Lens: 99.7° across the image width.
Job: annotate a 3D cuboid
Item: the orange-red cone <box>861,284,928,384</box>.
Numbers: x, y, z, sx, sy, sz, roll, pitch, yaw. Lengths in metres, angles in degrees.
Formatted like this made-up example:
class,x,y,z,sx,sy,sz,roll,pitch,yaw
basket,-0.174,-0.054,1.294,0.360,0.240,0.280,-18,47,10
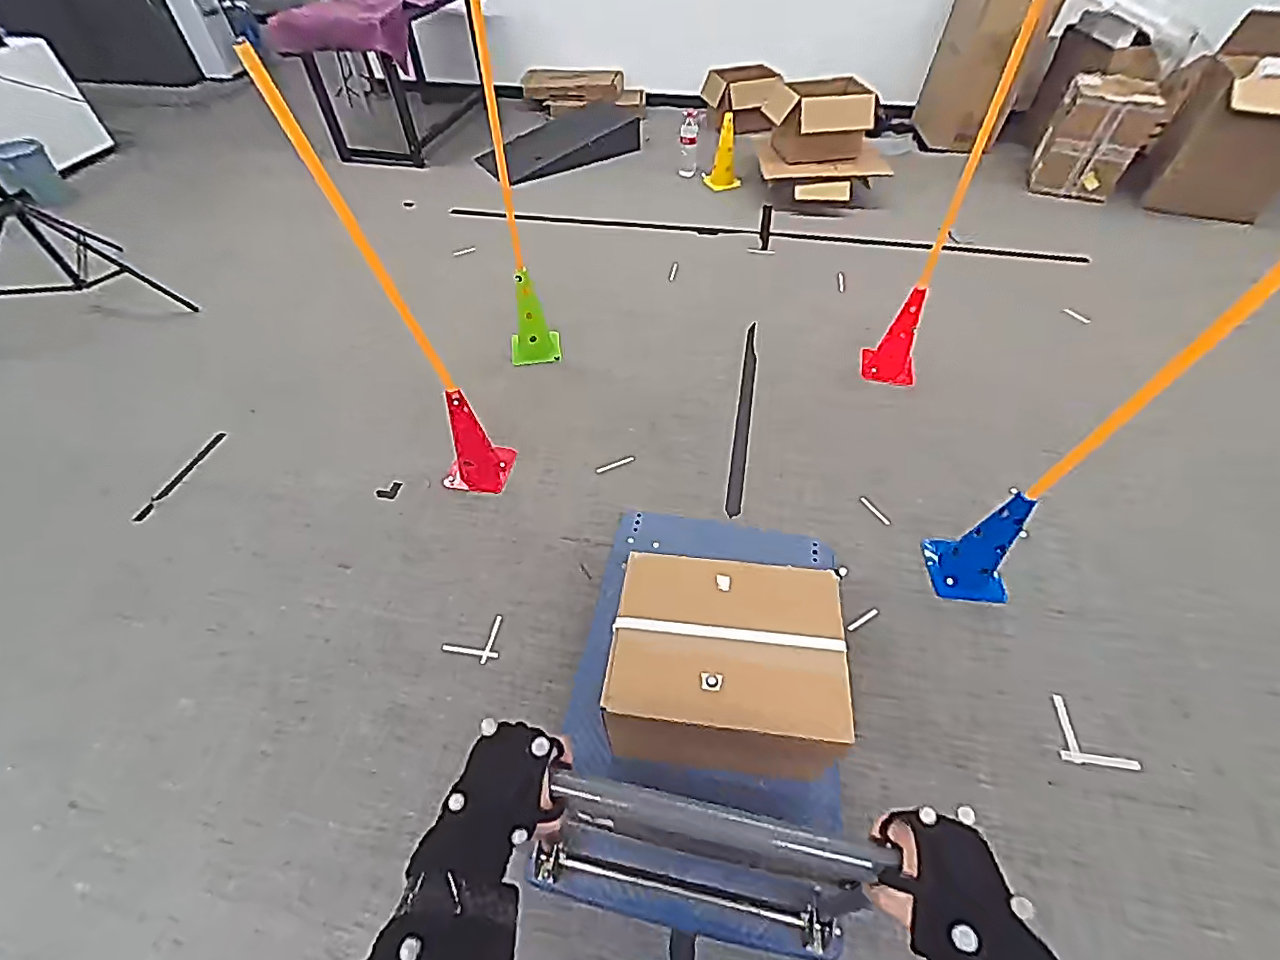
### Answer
class,x,y,z,sx,sy,sz,roll,pitch,yaw
orange-red cone,0.996,-0.571,2.033,0.199,0.360,0.198,14,53,10

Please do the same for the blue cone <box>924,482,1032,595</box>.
class,x,y,z,sx,sy,sz,roll,pitch,yaw
blue cone,0.954,0.146,1.473,0.193,0.380,0.192,5,50,4
